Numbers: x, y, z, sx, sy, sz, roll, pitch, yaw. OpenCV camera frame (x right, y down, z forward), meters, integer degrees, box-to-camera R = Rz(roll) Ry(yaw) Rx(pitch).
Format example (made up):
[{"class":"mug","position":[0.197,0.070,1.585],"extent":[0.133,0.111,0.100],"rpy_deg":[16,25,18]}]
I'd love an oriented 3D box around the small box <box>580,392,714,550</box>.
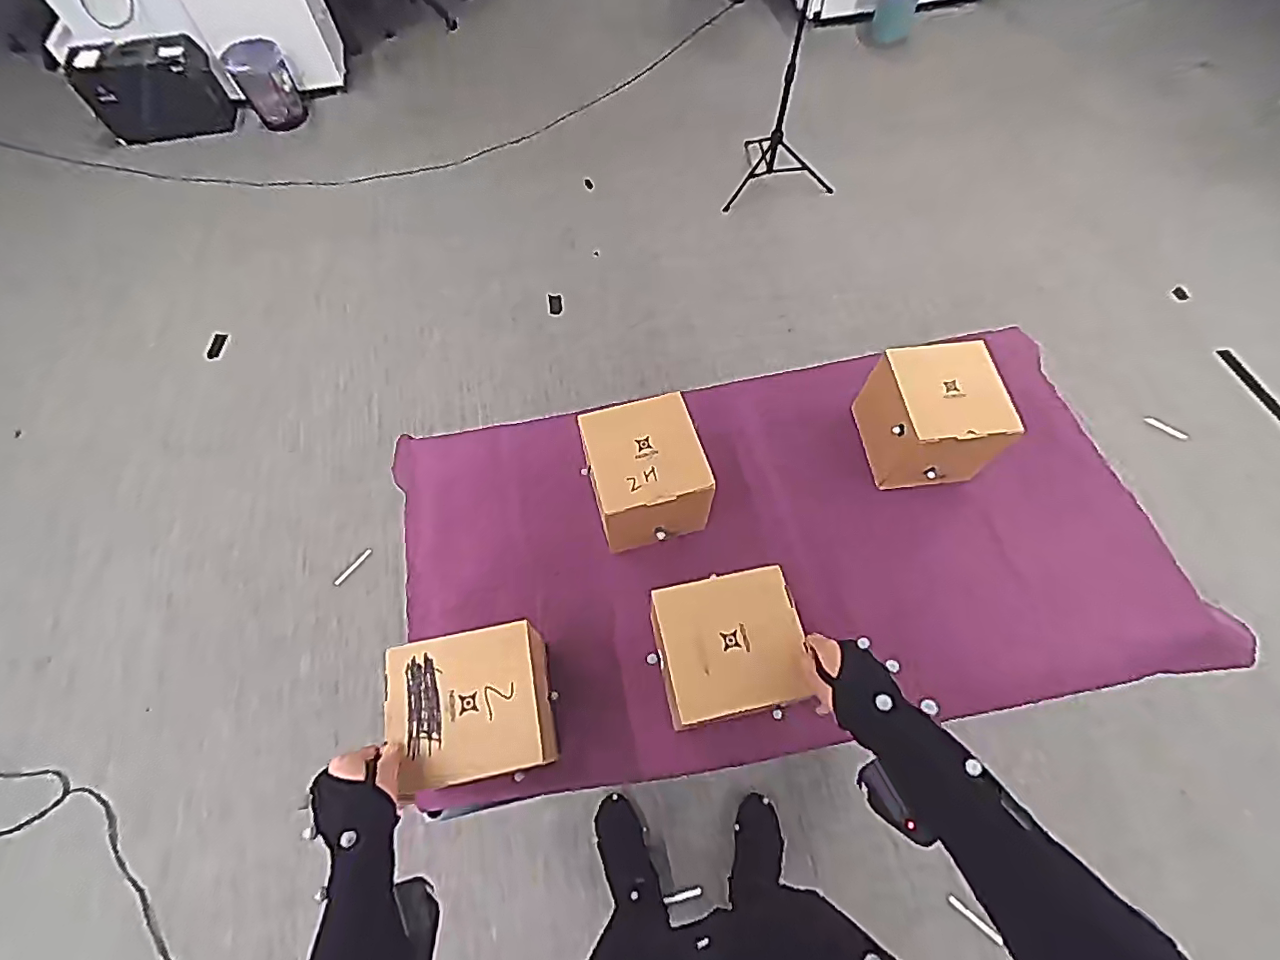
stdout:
[{"class":"small box","position":[0.006,-0.010,0.870],"extent":[0.168,0.176,0.179],"rpy_deg":[-14,63,-6]}]

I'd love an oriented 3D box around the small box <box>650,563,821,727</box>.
[{"class":"small box","position":[0.115,0.231,0.740],"extent":[0.179,0.176,0.168],"rpy_deg":[-10,62,-6]}]

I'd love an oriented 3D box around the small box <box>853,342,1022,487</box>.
[{"class":"small box","position":[0.483,-0.106,0.912],"extent":[0.168,0.176,0.179],"rpy_deg":[-6,64,-1]}]
